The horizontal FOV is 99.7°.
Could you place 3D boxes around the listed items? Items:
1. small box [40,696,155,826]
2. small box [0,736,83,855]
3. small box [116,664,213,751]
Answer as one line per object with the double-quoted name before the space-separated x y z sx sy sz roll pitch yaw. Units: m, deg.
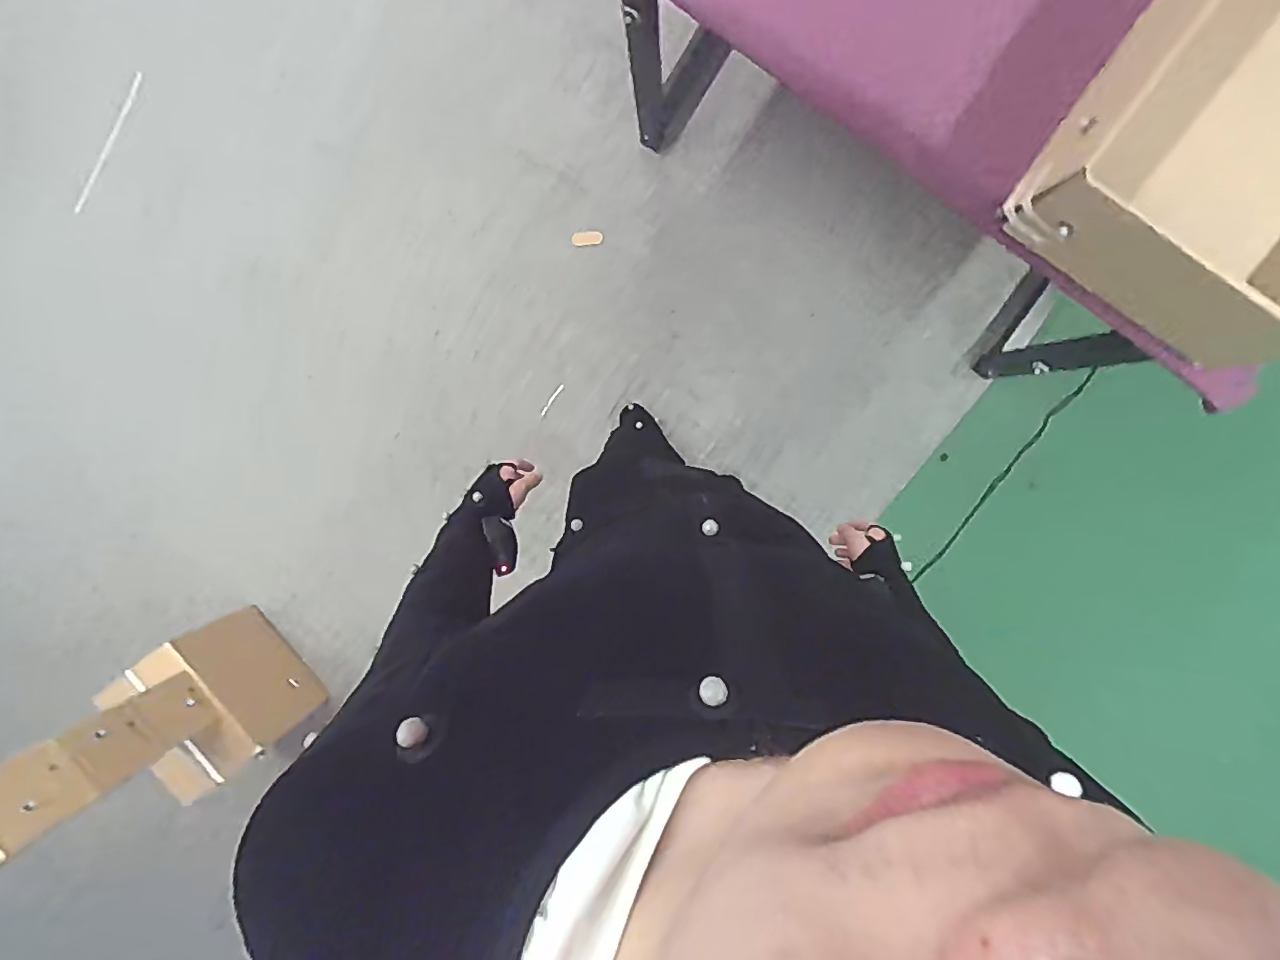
"small box" -1.288 0.639 1.249 0.179 0.176 0.168 -35 94 7
"small box" -1.298 0.659 1.089 0.179 0.176 0.168 -36 94 7
"small box" -1.285 0.620 1.411 0.179 0.176 0.168 -33 95 6
